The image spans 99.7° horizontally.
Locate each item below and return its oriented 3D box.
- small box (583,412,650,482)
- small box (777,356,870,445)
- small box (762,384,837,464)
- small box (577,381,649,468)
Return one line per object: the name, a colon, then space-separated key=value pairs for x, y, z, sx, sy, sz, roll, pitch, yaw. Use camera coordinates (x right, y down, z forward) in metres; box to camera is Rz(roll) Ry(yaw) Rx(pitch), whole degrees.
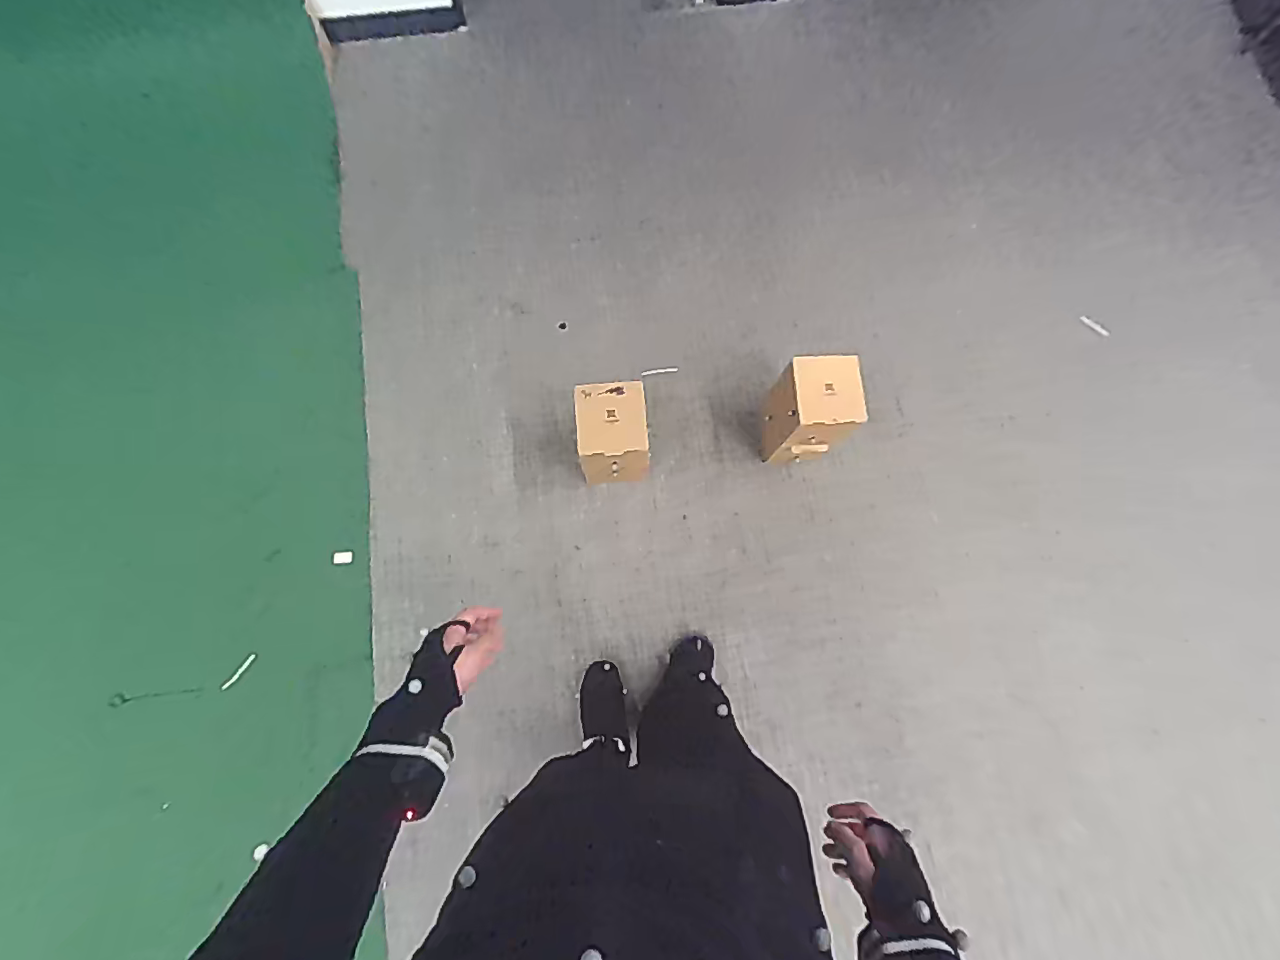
small box: x=-0.065 y=-0.094 z=1.493 sx=0.179 sy=0.176 sz=0.168 roll=-3 pitch=77 yaw=-3
small box: x=0.454 y=-0.196 z=1.366 sx=0.168 sy=0.176 sz=0.179 roll=-2 pitch=77 yaw=-3
small box: x=0.442 y=-0.155 z=1.521 sx=0.168 sy=0.176 sz=0.179 roll=3 pitch=77 yaw=1
small box: x=-0.065 y=-0.129 z=1.333 sx=0.168 sy=0.176 sz=0.179 roll=-3 pitch=78 yaw=-3
